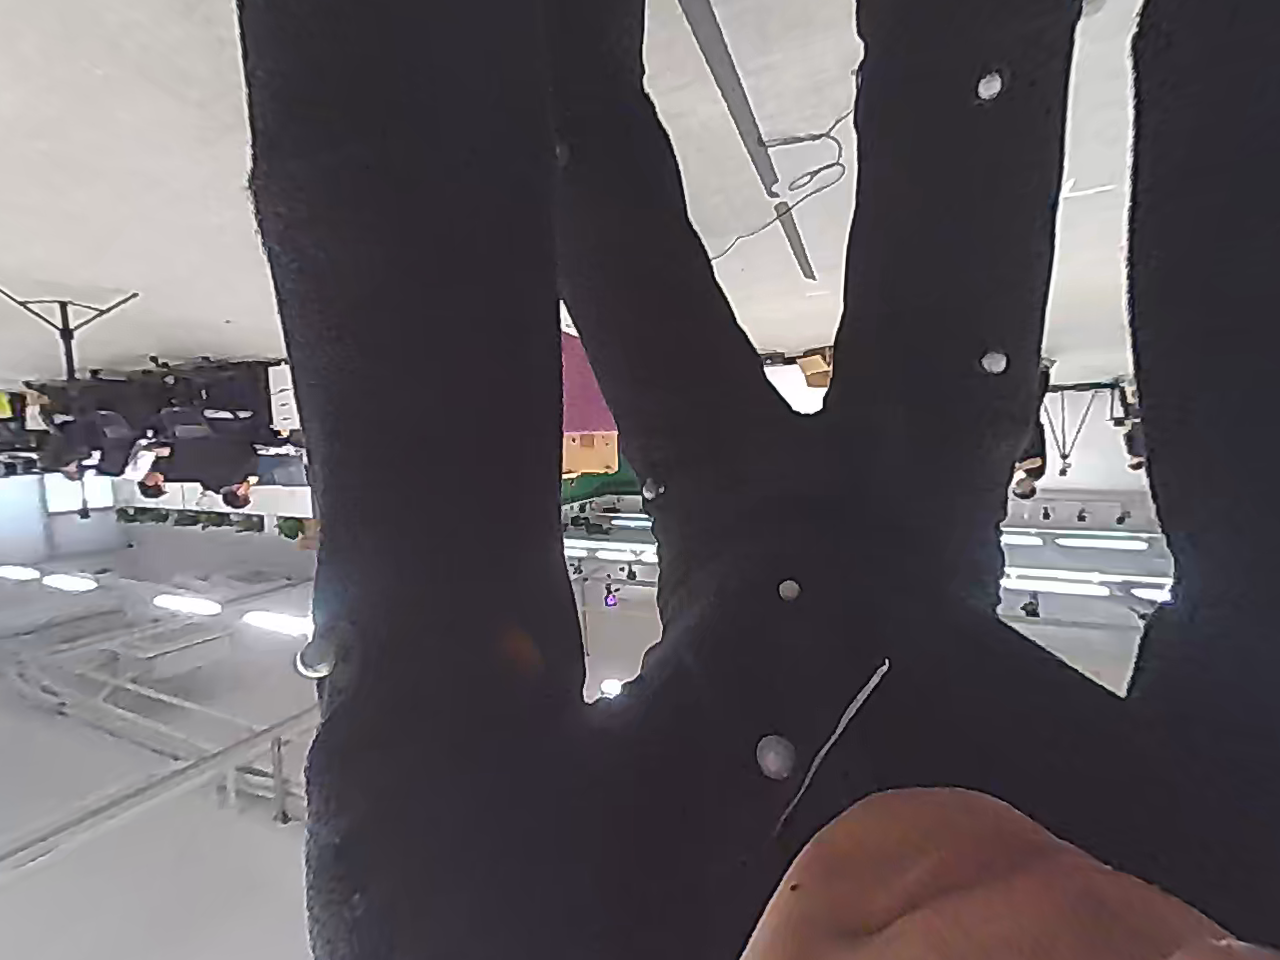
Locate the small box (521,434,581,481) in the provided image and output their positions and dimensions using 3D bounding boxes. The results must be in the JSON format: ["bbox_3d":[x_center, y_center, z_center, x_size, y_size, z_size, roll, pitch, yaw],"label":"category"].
[{"bbox_3d":[-0.346,-0.090,2.080,0.179,0.176,0.168,2,-174,34],"label":"small box"}]

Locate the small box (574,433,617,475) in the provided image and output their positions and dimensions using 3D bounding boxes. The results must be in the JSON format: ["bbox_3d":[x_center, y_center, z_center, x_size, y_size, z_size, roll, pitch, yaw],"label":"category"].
[{"bbox_3d":[-0.212,-0.113,2.328,0.179,0.176,0.168,1,-174,32],"label":"small box"}]
